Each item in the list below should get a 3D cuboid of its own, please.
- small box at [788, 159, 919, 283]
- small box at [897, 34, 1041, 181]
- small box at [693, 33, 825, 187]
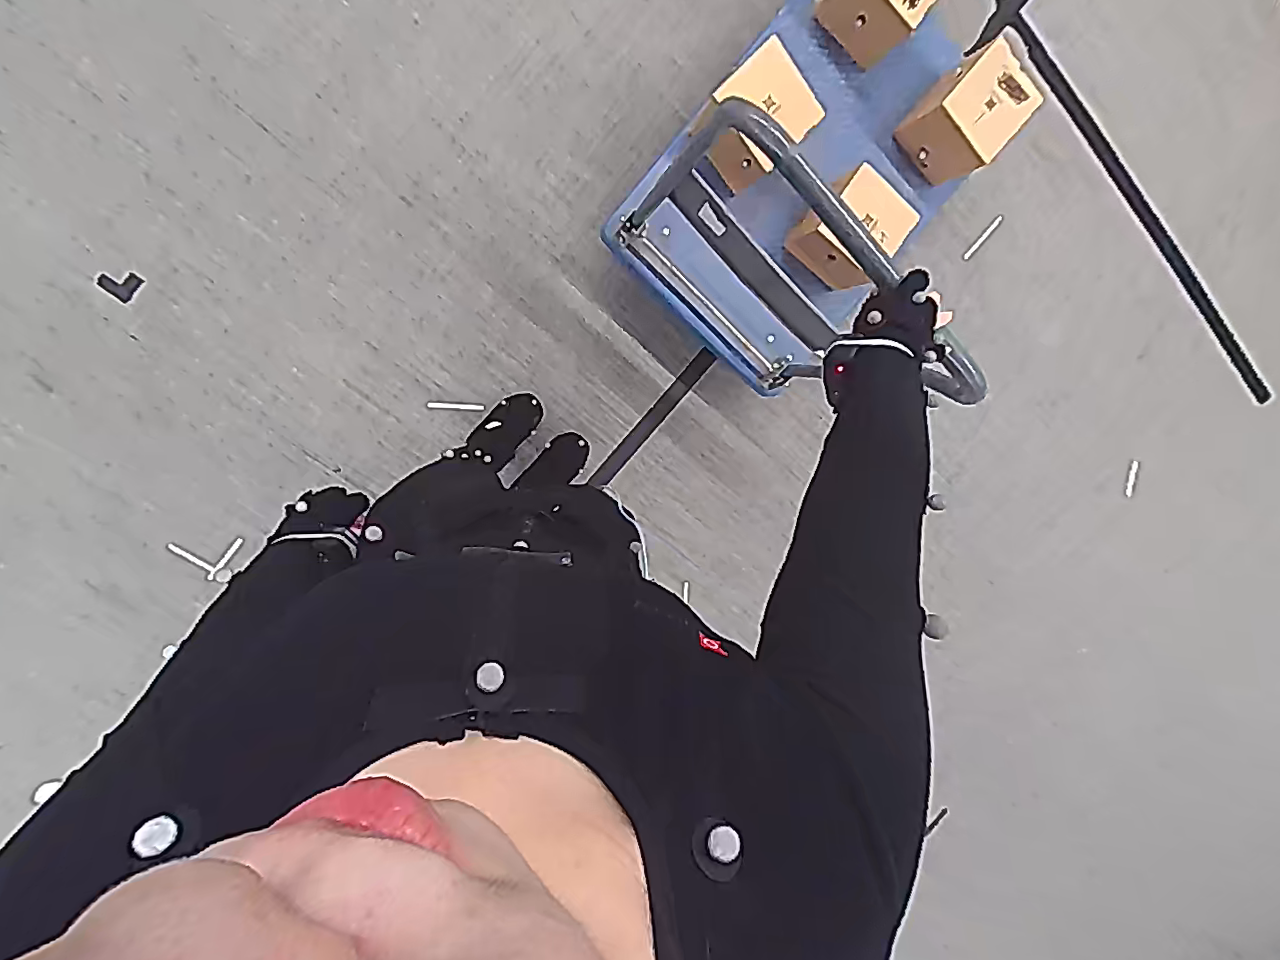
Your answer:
[{"bbox_3d":[0.464,-0.562,1.206,0.179,0.176,0.168,34,95,-16],"label":"small box"},{"bbox_3d":[0.716,-0.808,1.195,0.168,0.176,0.179,40,95,-16],"label":"small box"},{"bbox_3d":[0.236,-0.748,1.119,0.168,0.176,0.179,-44,109,1],"label":"small box"}]
